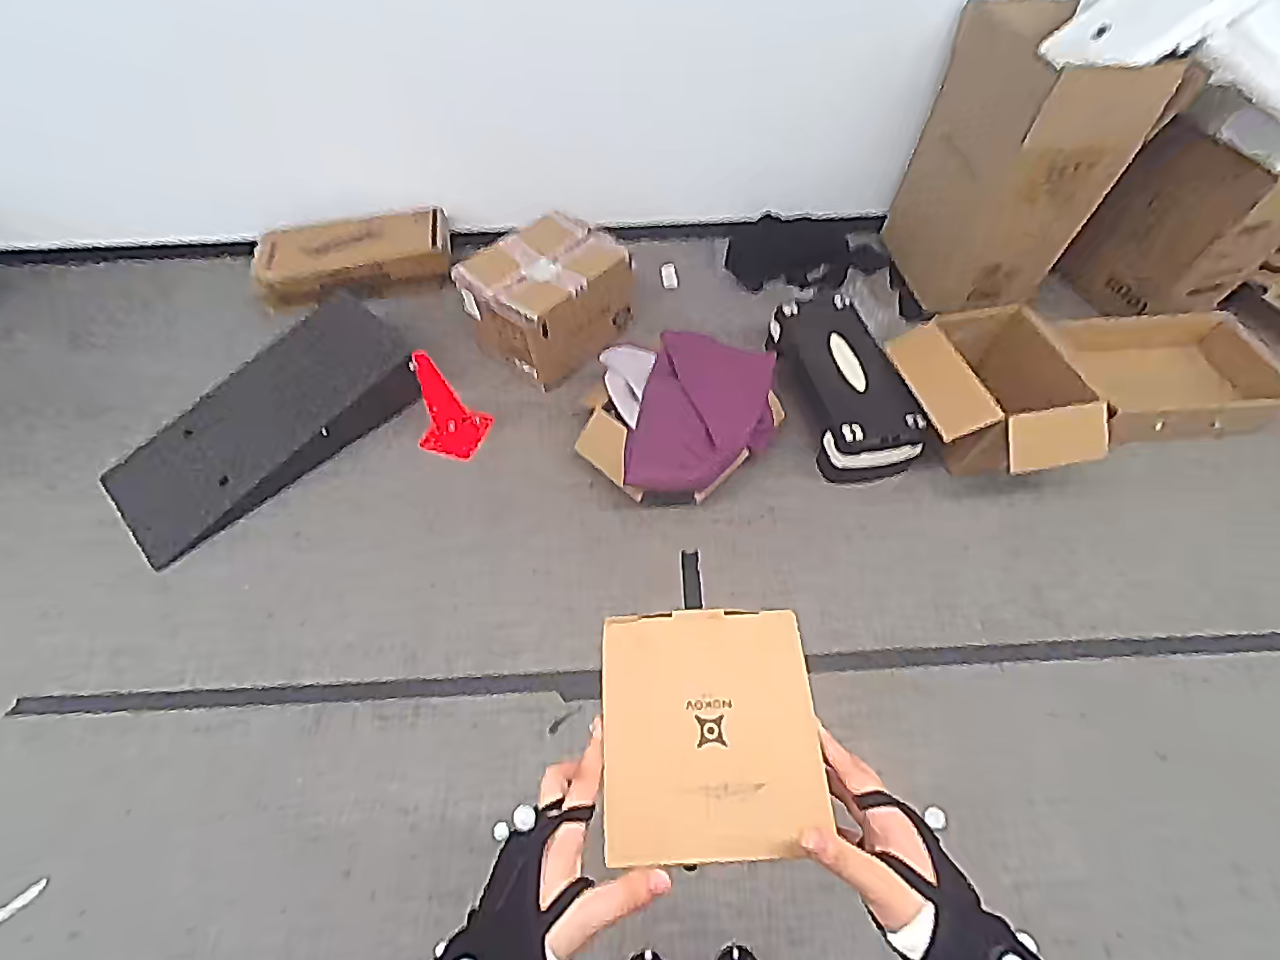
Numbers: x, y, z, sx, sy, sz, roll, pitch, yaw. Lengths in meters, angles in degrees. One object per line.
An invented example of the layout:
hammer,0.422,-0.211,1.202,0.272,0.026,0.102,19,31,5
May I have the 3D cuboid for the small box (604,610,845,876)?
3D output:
small box,0.053,0.224,0.472,0.168,0.176,0.179,-3,62,-1
